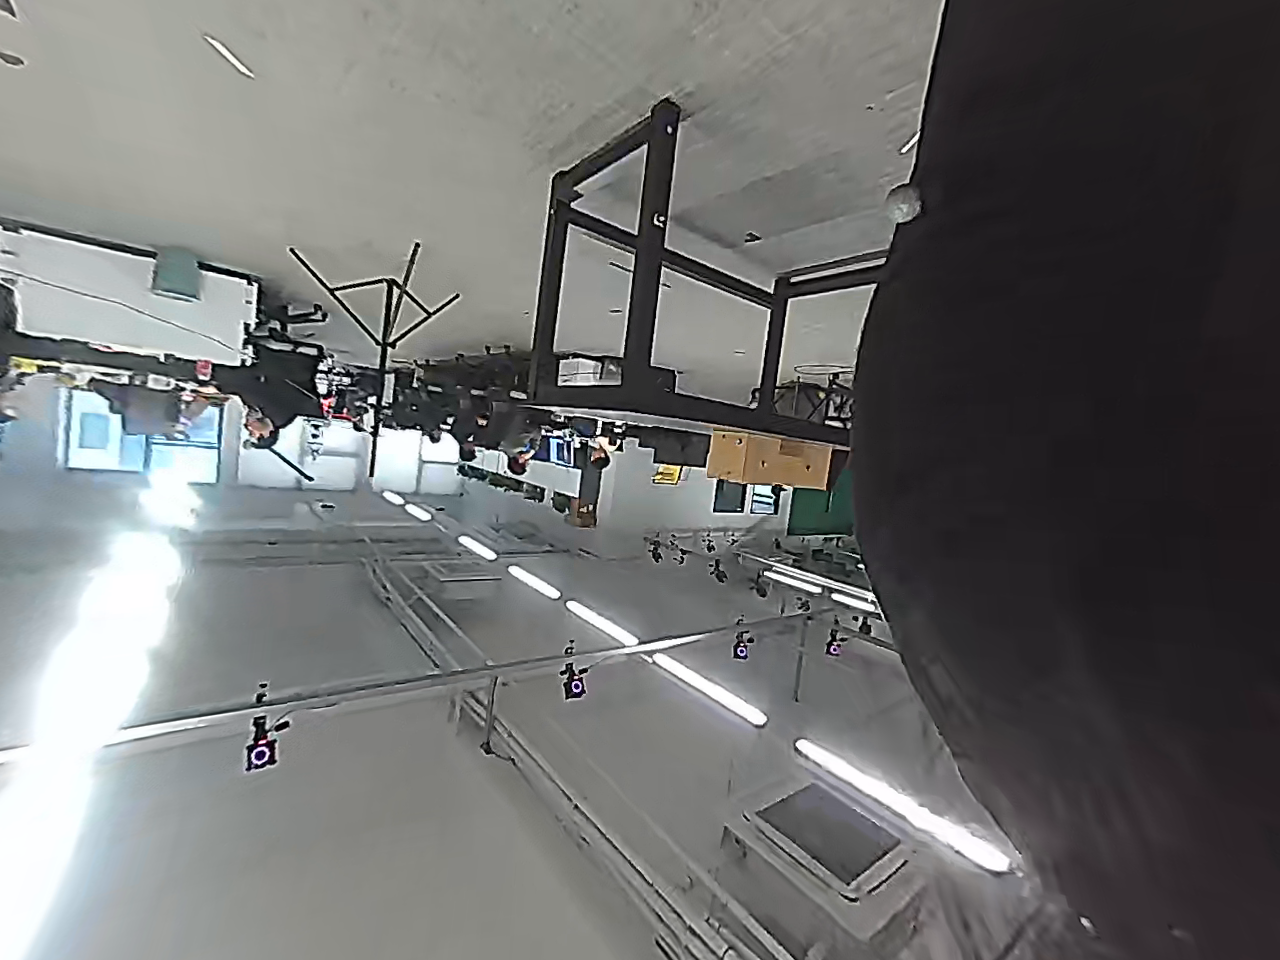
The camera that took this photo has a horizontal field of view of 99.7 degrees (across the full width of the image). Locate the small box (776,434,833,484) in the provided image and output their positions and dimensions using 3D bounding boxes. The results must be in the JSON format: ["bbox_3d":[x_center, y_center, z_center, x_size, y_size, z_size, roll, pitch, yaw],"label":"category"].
[{"bbox_3d":[0.600,-0.081,2.037,0.179,0.176,0.168,3,-173,-35],"label":"small box"}]

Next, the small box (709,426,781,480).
[{"bbox_3d":[0.362,-0.095,1.863,0.179,0.176,0.168,2,-173,-39],"label":"small box"}]
